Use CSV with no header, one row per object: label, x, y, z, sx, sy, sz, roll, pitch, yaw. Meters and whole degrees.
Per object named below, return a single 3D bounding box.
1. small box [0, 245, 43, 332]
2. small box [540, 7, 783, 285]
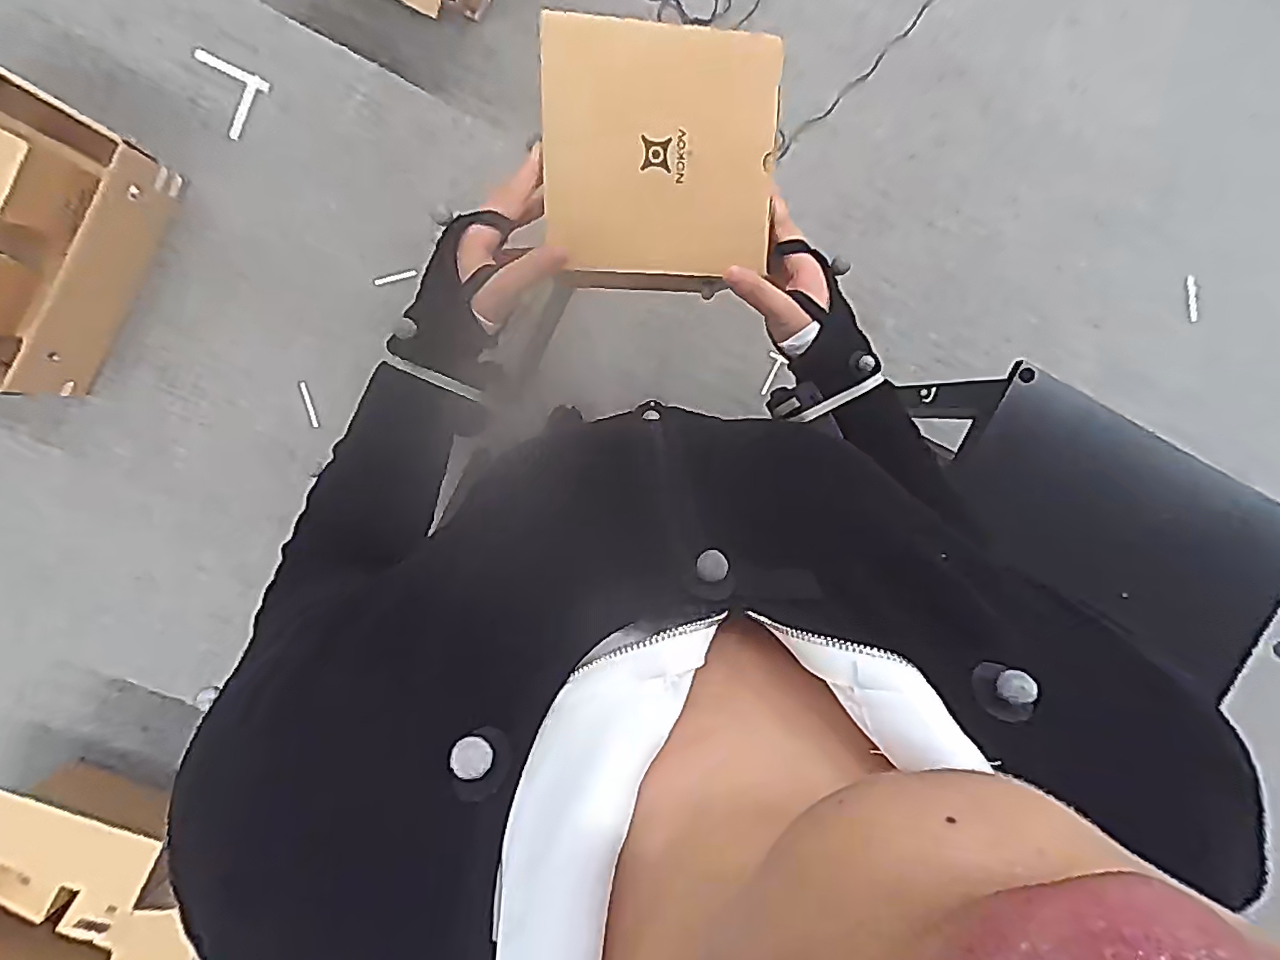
small box,-1.493,-0.445,1.182,0.168,0.176,0.179,30,92,-10
small box,0.005,-0.266,0.477,0.179,0.176,0.168,-1,106,-9
